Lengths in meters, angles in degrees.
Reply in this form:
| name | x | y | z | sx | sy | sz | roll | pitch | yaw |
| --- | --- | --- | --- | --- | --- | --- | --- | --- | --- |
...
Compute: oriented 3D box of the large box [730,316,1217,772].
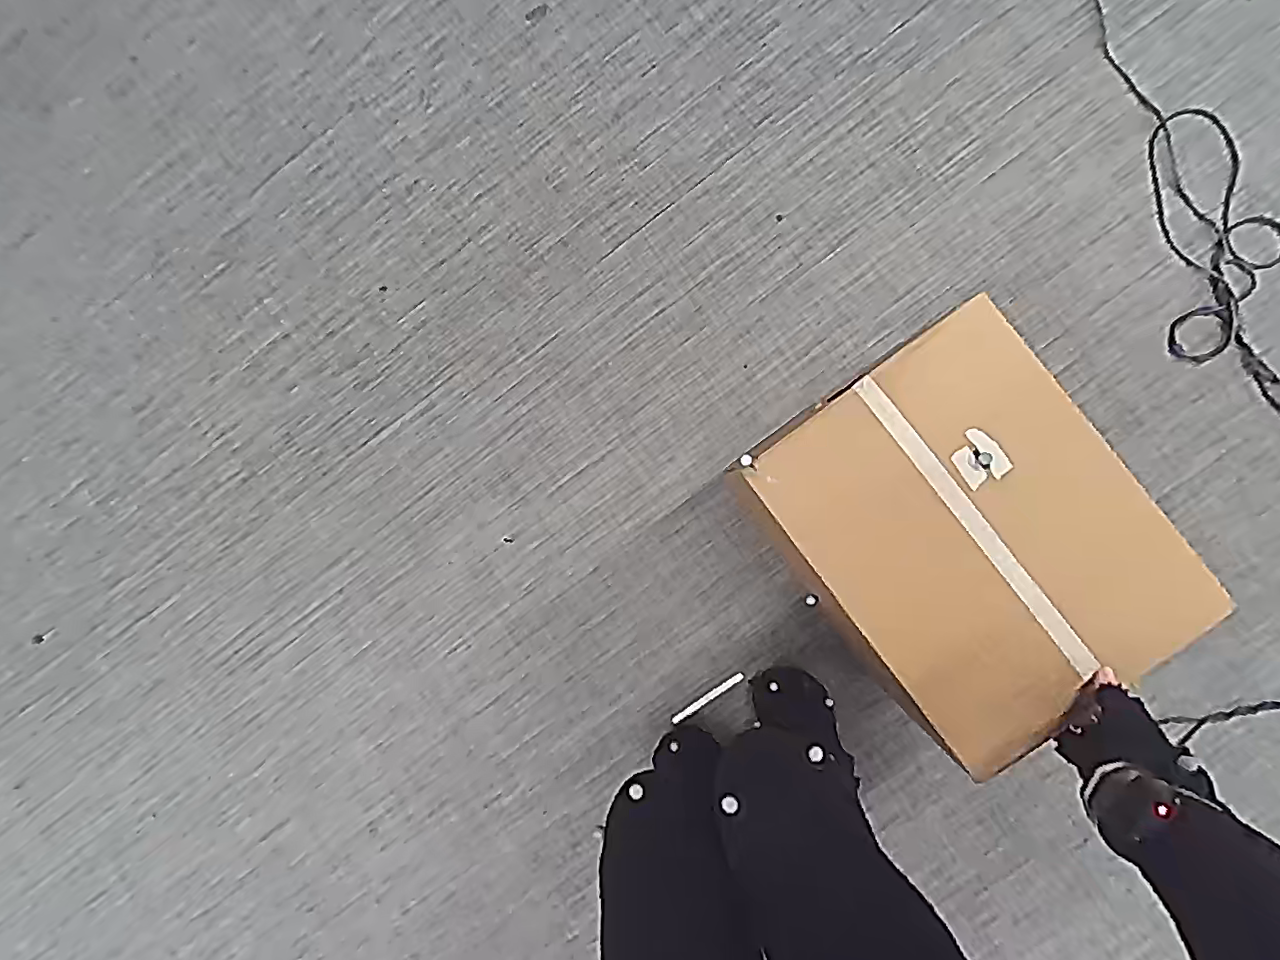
| name | x | y | z | sx | sy | sz | roll | pitch | yaw |
| --- | --- | --- | --- | --- | --- | --- | --- | --- | --- |
| large box | 0.371 | 0.071 | 0.726 | 0.320 | 0.320 | 0.408 | -37 | 86 | 2 |
